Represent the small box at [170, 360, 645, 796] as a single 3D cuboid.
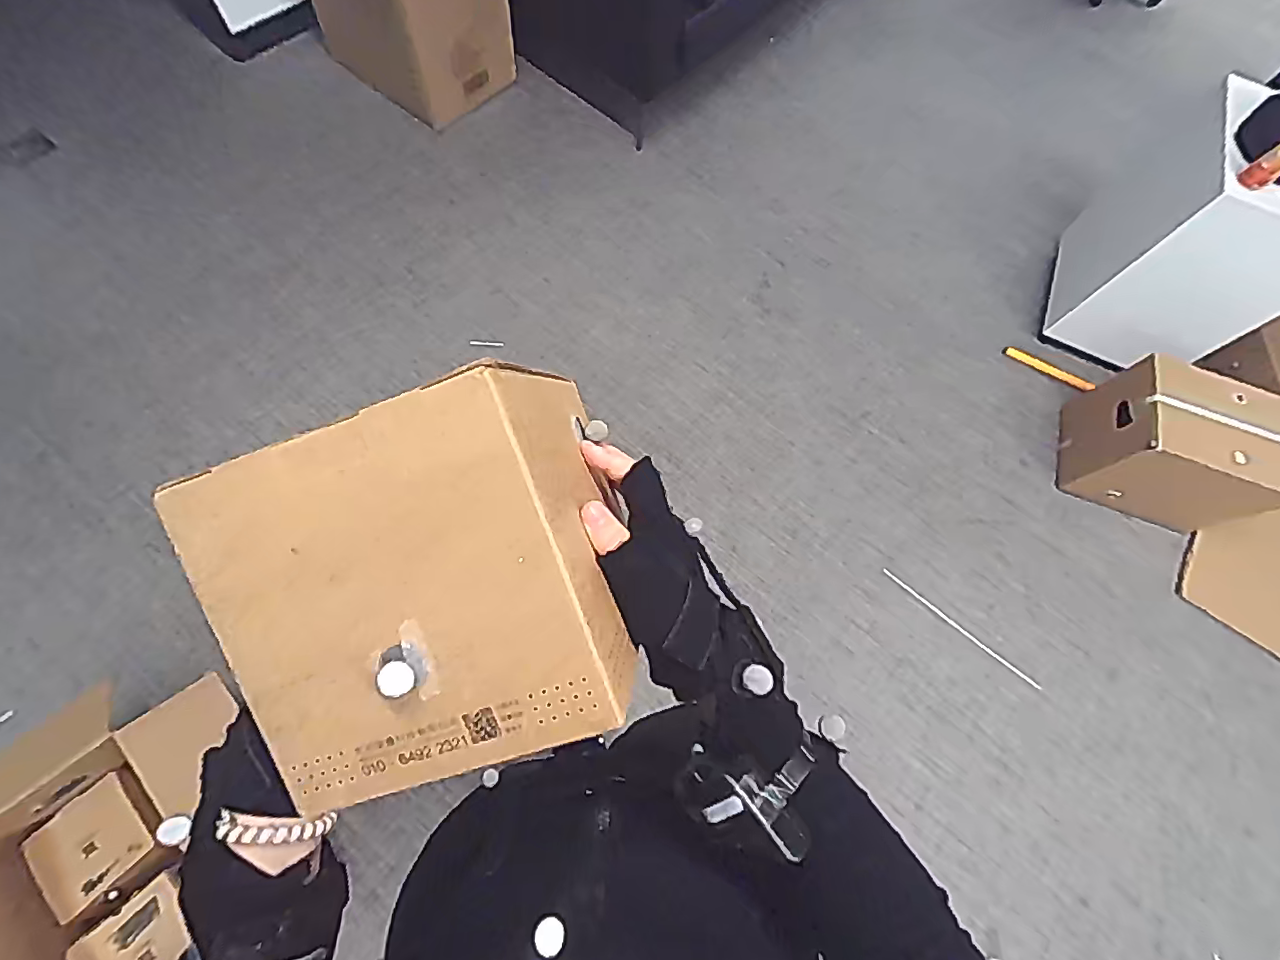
[{"bbox_3d":[-0.102,0.041,0.321,0.168,0.179,0.176,-19,97,7],"label":"small box"}]
